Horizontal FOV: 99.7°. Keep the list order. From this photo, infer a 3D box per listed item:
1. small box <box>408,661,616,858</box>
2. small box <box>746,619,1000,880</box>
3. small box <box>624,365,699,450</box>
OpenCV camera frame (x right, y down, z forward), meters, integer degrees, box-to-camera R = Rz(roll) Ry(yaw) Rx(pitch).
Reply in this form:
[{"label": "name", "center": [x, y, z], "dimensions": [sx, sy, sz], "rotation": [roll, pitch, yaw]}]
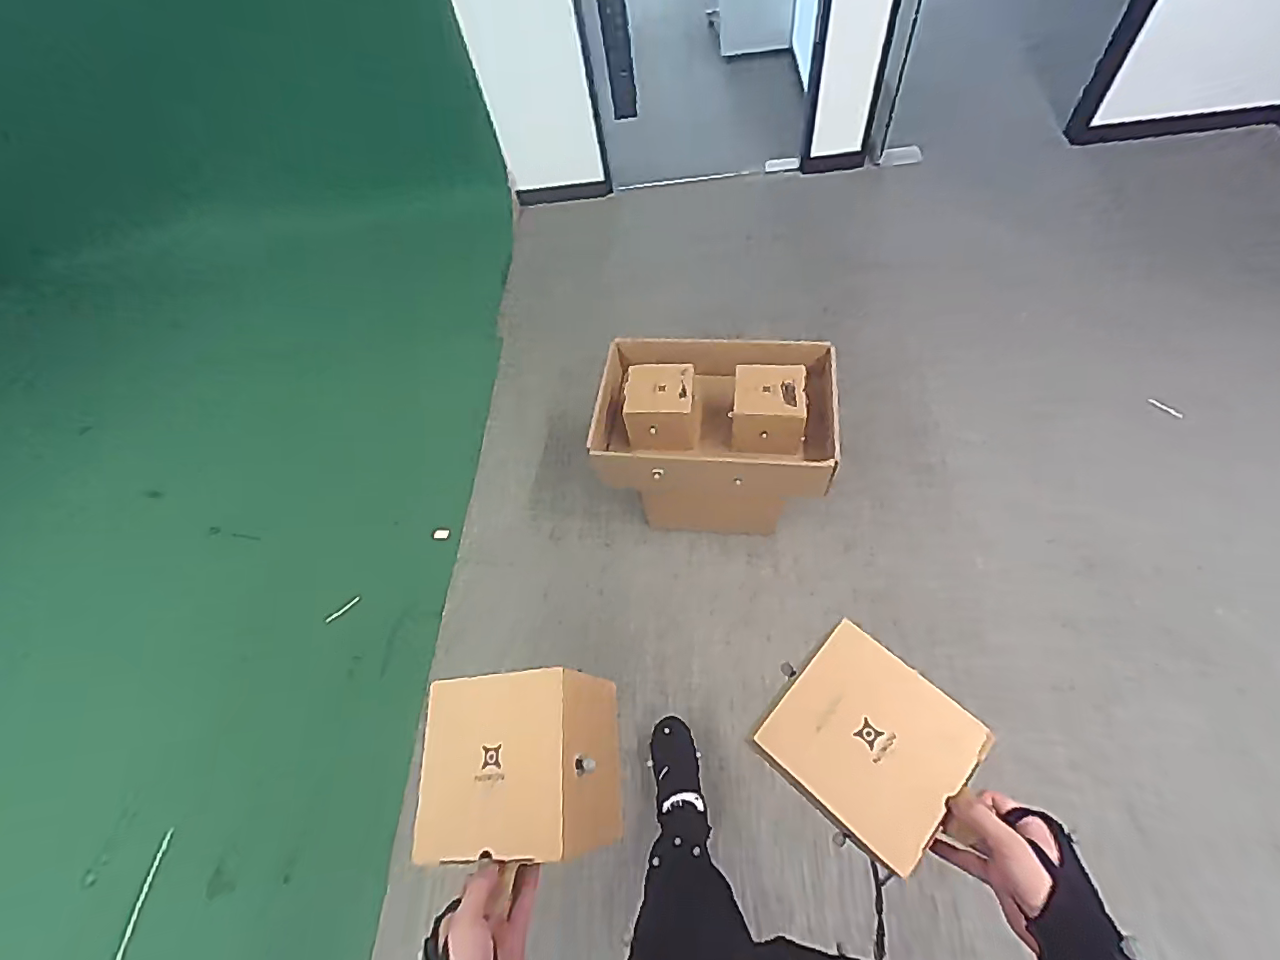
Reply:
[{"label": "small box", "center": [-0.131, 0.315, 0.619], "dimensions": [0.168, 0.176, 0.179], "rotation": [-10, 62, 13]}, {"label": "small box", "center": [0.238, 0.285, 0.601], "dimensions": [0.179, 0.176, 0.168], "rotation": [40, 75, 22]}, {"label": "small box", "center": [0.064, -0.192, 1.457], "dimensions": [0.179, 0.176, 0.168], "rotation": [1, 59, 10]}]
